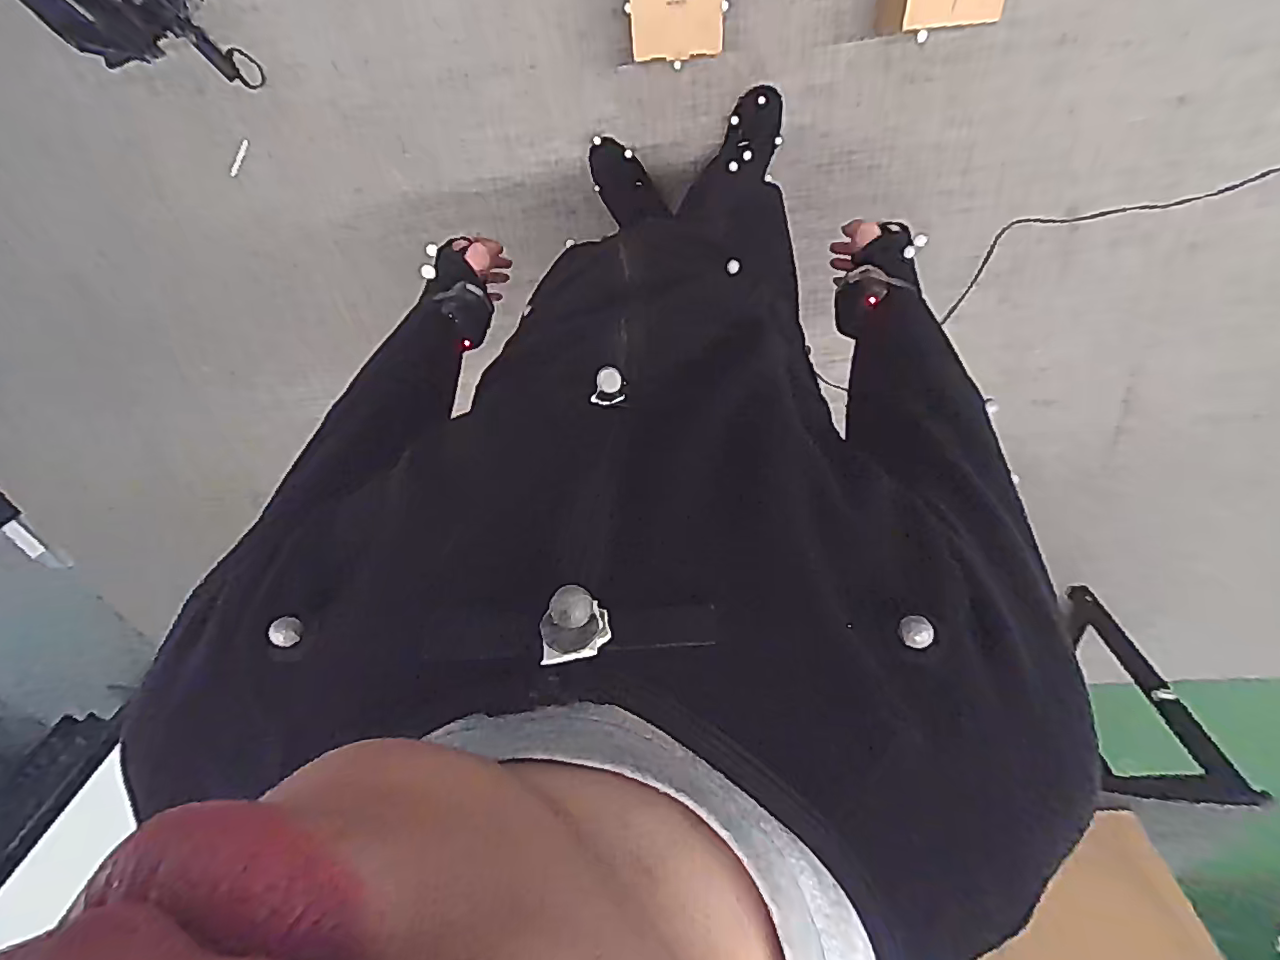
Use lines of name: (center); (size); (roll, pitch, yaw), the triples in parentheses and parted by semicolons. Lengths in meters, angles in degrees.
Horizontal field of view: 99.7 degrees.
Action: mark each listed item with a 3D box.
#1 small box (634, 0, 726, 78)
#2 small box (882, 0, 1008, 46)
small box: (0.079, -0.885, 1.031); (0.168, 0.176, 0.179); (-1, 127, 6)
small box: (0.552, -0.902, 0.972); (0.168, 0.176, 0.179); (-1, 128, 7)
